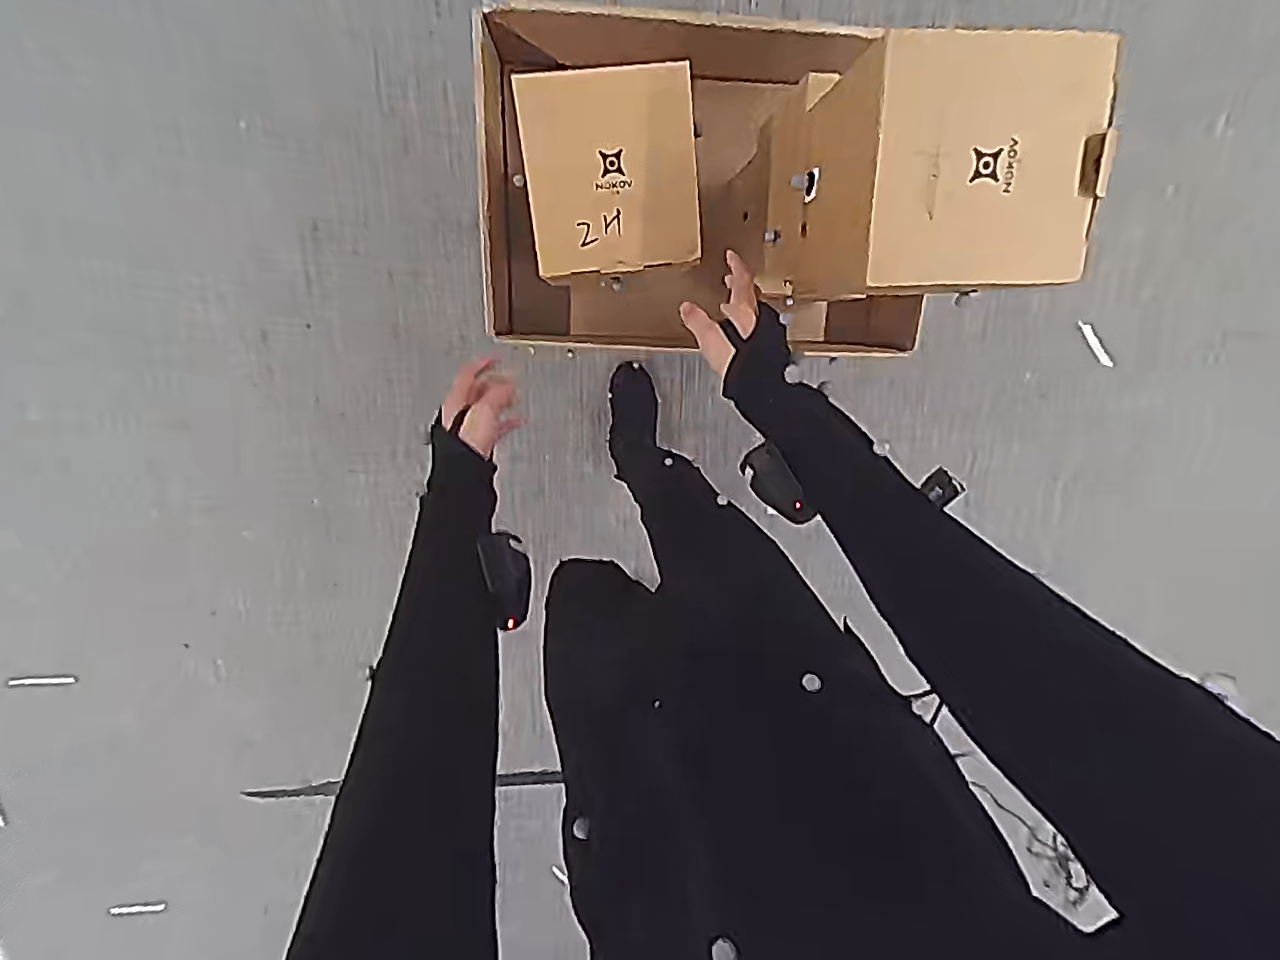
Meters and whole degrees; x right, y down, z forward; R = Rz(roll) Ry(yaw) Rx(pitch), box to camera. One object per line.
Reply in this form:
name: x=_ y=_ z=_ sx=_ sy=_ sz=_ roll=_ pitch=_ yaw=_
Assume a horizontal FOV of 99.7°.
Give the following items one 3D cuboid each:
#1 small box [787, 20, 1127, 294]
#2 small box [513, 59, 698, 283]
small box: x=0.244 y=-0.252 z=0.465 sx=0.179 sy=0.176 sz=0.168 roll=-3 pitch=106 yaw=-4
small box: x=-0.036 y=-0.319 z=0.592 sx=0.168 sy=0.176 sz=0.179 roll=-7 pitch=108 yaw=-3
